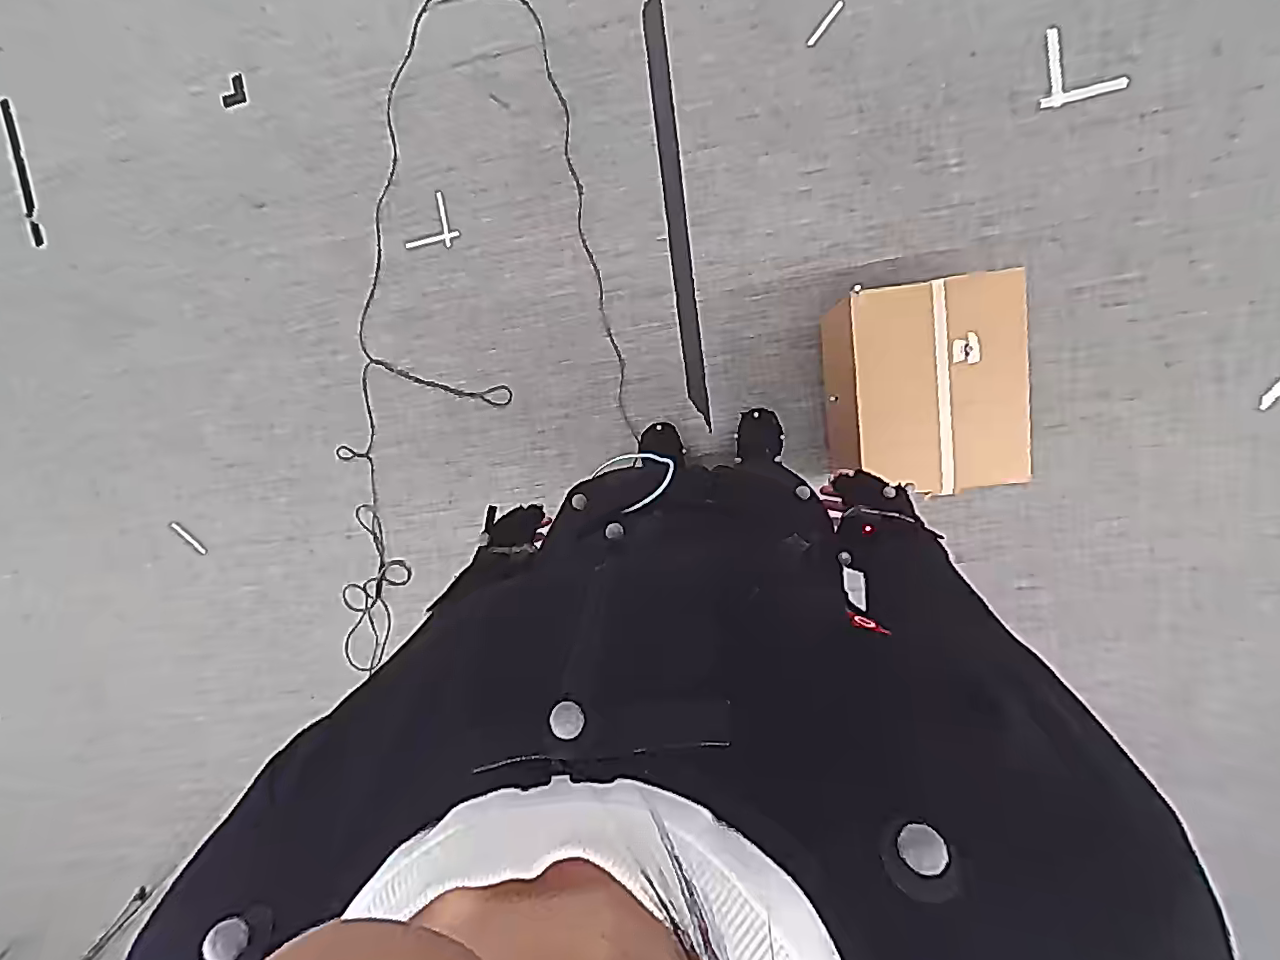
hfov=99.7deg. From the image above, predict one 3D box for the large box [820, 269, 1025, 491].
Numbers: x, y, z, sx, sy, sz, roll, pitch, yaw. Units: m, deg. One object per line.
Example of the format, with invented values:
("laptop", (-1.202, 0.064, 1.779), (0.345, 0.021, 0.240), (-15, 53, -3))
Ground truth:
("large box", (0.601, -0.205, 1.207), (0.320, 0.320, 0.408), (-6, 96, 7))
